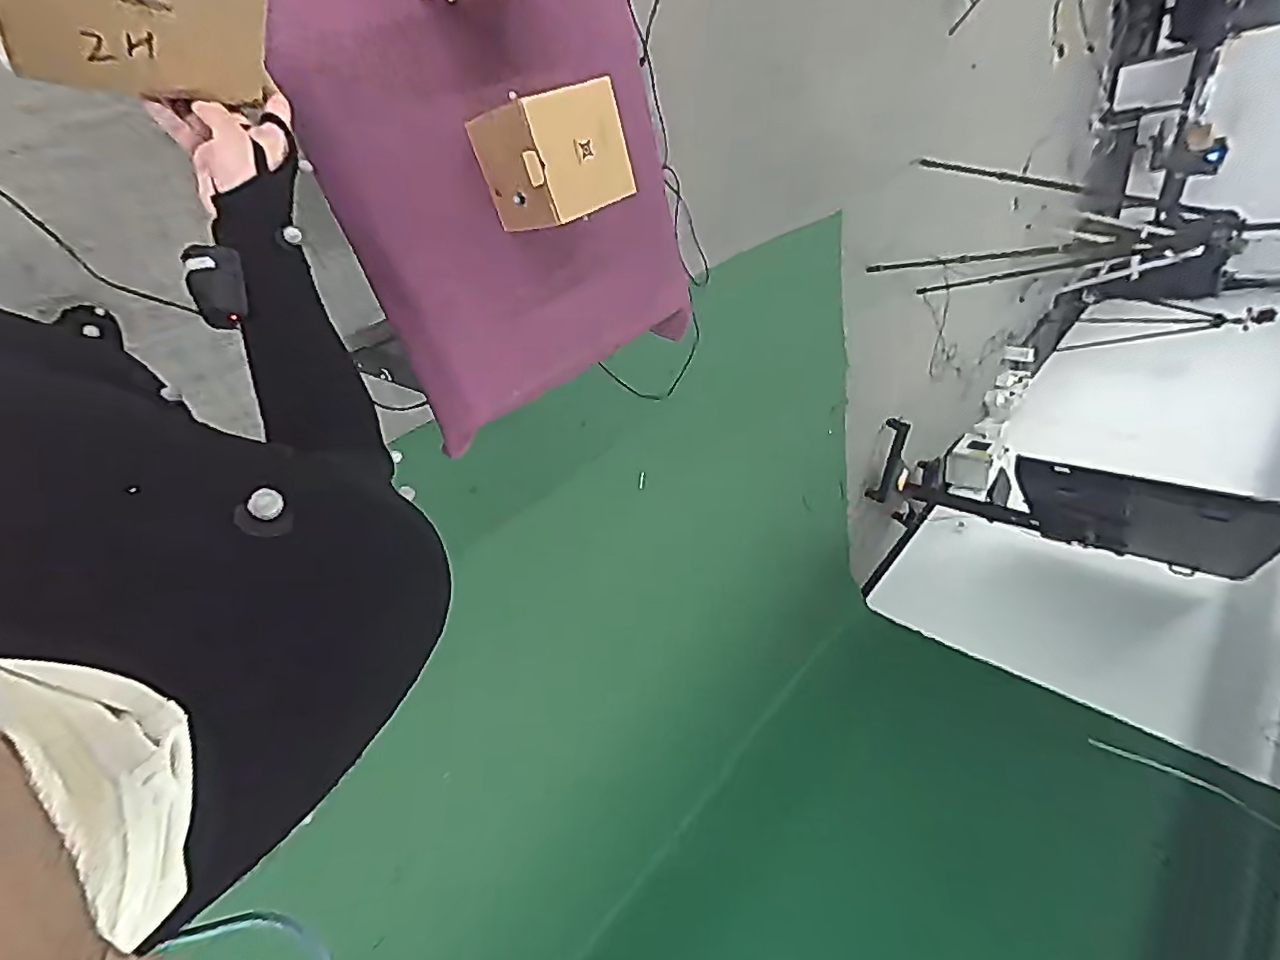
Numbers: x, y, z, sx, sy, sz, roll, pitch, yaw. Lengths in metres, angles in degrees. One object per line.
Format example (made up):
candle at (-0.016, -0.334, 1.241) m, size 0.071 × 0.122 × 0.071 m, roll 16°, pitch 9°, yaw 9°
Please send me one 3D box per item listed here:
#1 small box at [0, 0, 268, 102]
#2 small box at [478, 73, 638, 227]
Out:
small box at (-0.403, -0.432, 0.397) m, size 0.168 × 0.179 × 0.176 m, roll -26°, pitch 82°, yaw -43°
small box at (-0.136, -0.521, 0.870) m, size 0.179 × 0.176 × 0.168 m, roll -39°, pitch 129°, yaw -28°
